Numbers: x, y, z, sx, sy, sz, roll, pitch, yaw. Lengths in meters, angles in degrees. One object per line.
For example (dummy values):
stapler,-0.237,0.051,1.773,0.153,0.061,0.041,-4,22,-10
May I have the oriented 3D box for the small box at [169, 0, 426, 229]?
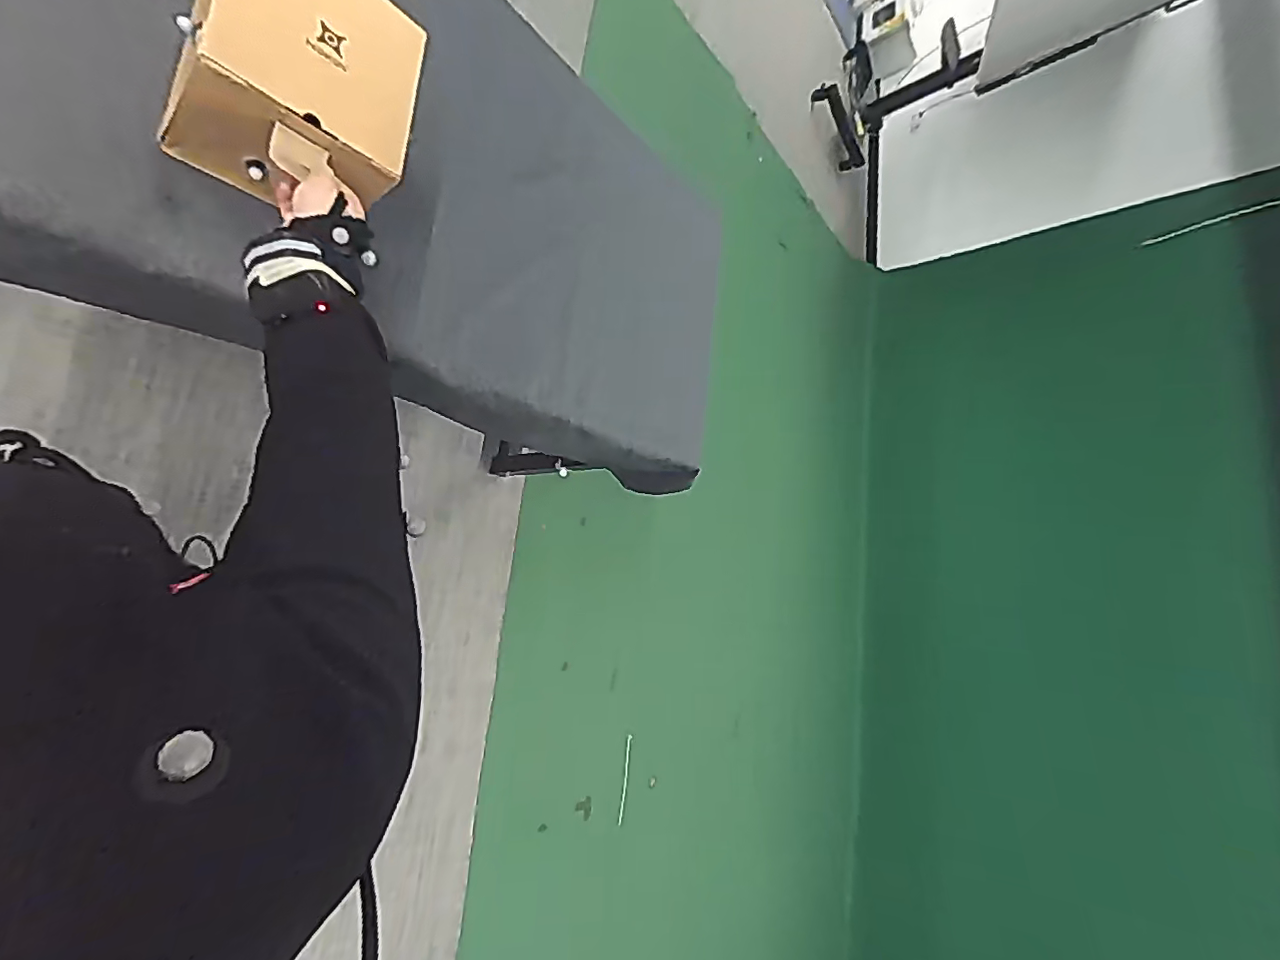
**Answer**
small box,-0.349,-0.399,0.555,0.168,0.176,0.179,16,76,-49
